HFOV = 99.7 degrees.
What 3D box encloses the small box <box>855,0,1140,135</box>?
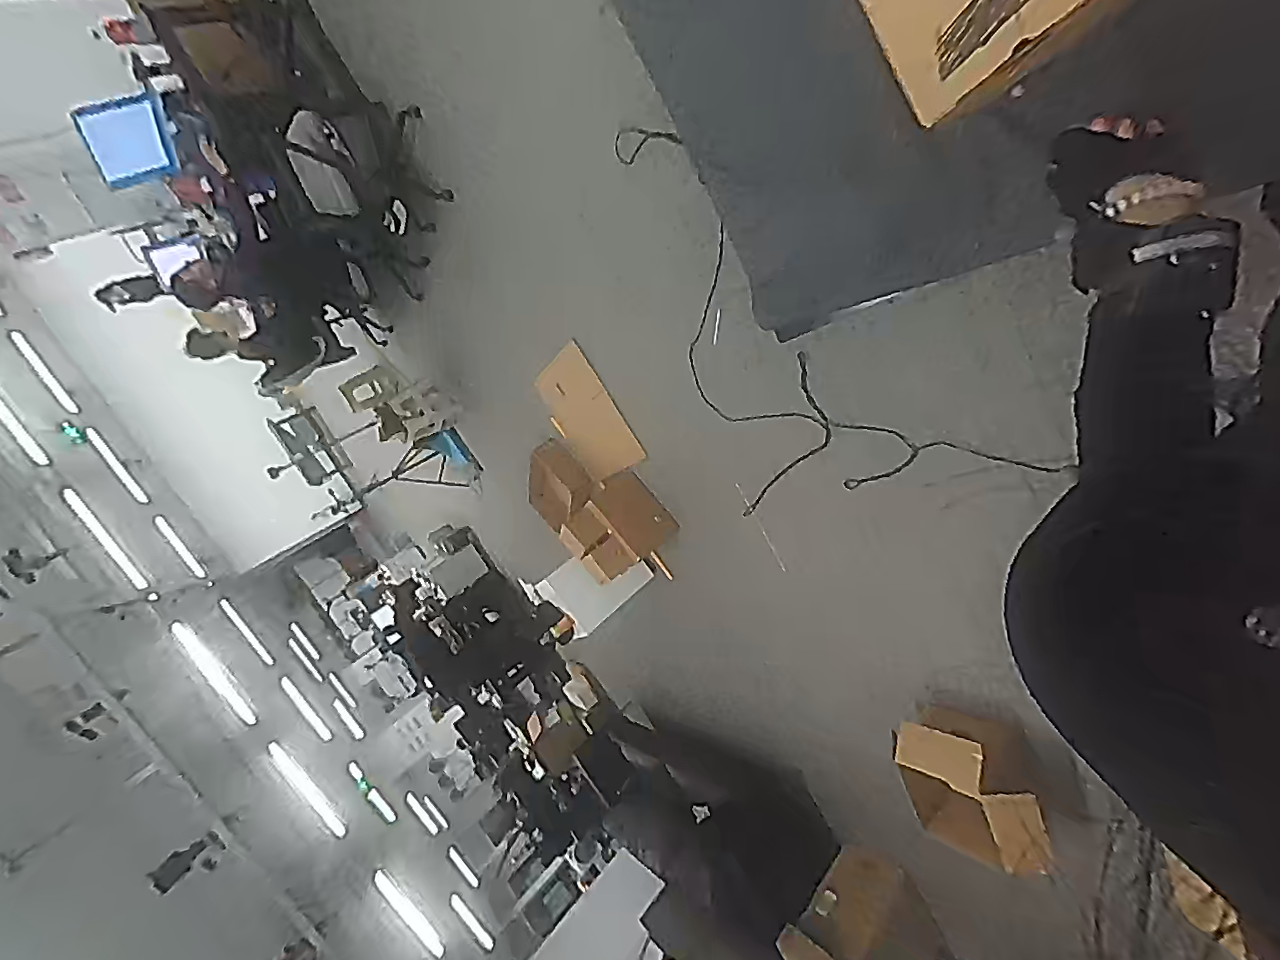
[{"bbox_3d":[0.311,-0.439,0.454,0.179,0.176,0.168,59,149,-6],"label":"small box"}]
